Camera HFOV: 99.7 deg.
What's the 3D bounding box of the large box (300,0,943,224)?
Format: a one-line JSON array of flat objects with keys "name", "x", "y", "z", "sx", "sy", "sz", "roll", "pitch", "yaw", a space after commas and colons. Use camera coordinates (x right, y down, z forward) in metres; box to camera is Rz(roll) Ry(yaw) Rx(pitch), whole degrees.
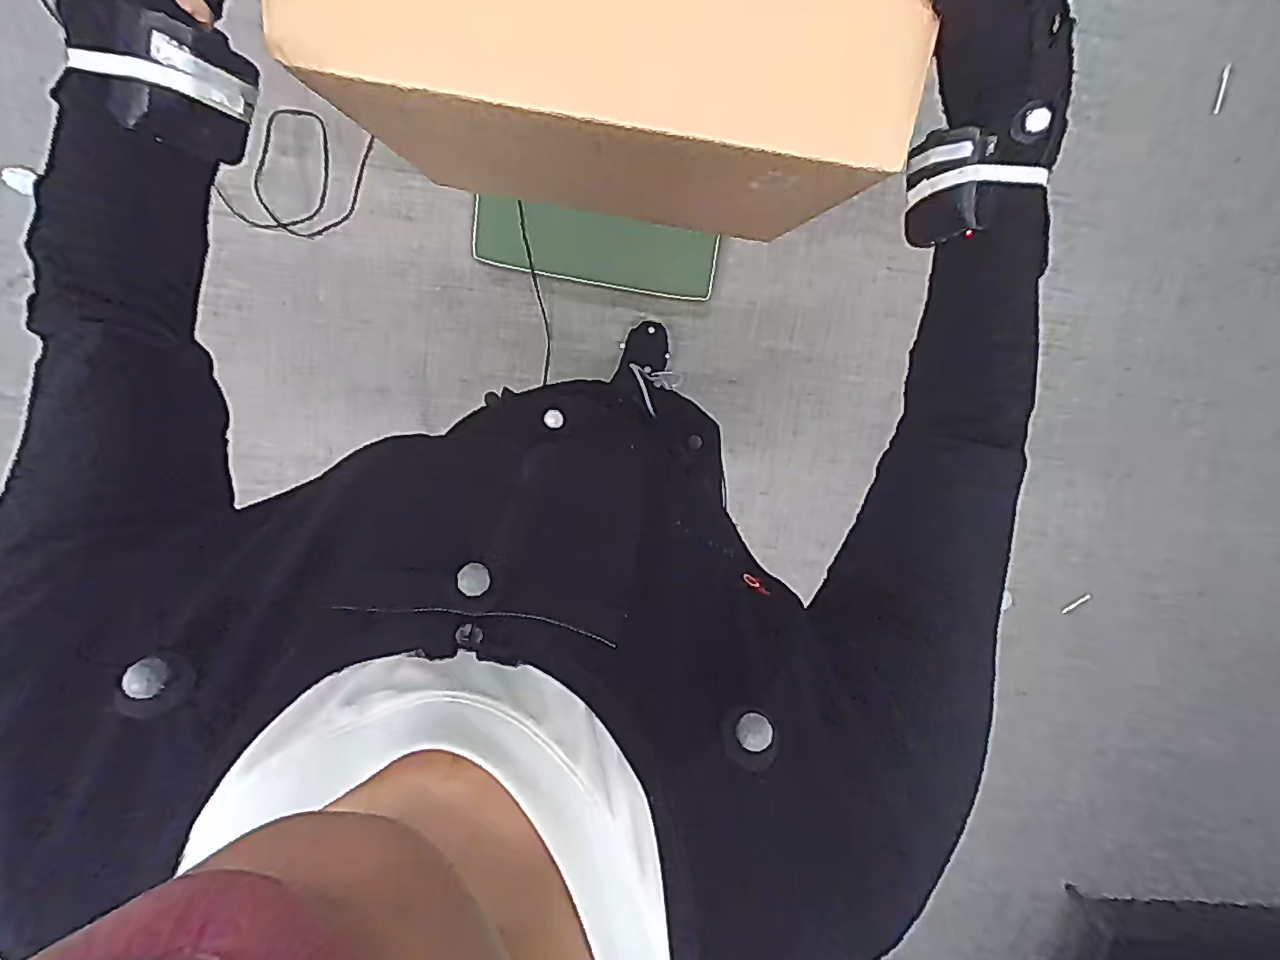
[{"name": "large box", "x": -0.004, "y": -0.431, "z": 0.452, "sx": 0.408, "sy": 0.320, "sz": 0.320, "roll": 7, "pitch": 106, "yaw": -6}]
